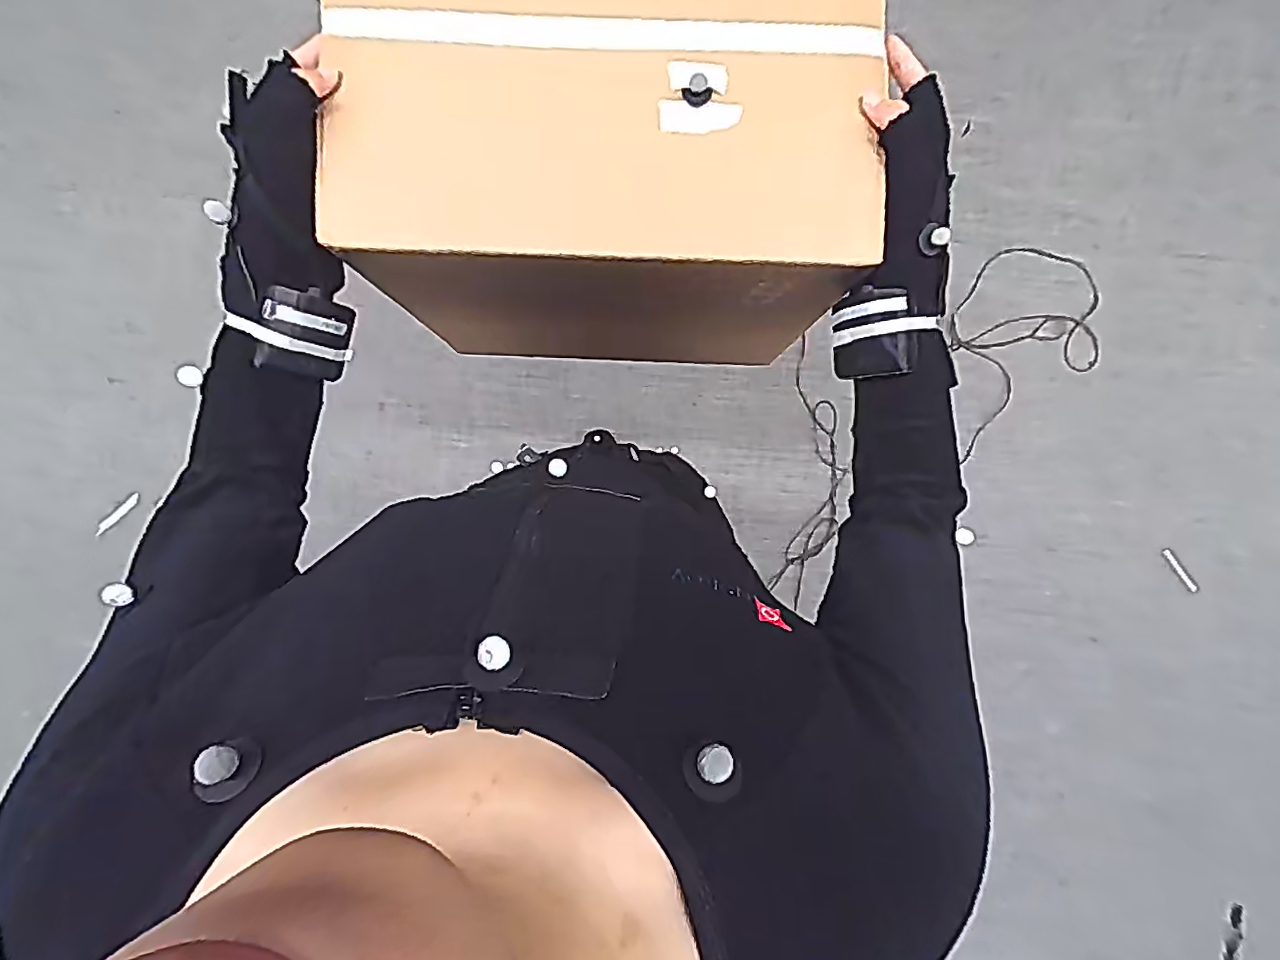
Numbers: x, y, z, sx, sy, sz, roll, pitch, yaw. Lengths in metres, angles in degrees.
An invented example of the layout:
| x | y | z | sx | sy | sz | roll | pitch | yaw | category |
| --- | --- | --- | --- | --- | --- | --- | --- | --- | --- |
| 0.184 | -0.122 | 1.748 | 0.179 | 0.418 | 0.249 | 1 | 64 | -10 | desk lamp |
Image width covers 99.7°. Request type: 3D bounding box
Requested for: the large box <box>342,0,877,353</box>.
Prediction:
| x | y | z | sx | sy | sz | roll | pitch | yaw | category |
| --- | --- | --- | --- | --- | --- | --- | --- | --- | --- |
| -0.024 | -0.322 | 0.555 | 0.408 | 0.320 | 0.320 | 2 | 89 | -1 | large box |
